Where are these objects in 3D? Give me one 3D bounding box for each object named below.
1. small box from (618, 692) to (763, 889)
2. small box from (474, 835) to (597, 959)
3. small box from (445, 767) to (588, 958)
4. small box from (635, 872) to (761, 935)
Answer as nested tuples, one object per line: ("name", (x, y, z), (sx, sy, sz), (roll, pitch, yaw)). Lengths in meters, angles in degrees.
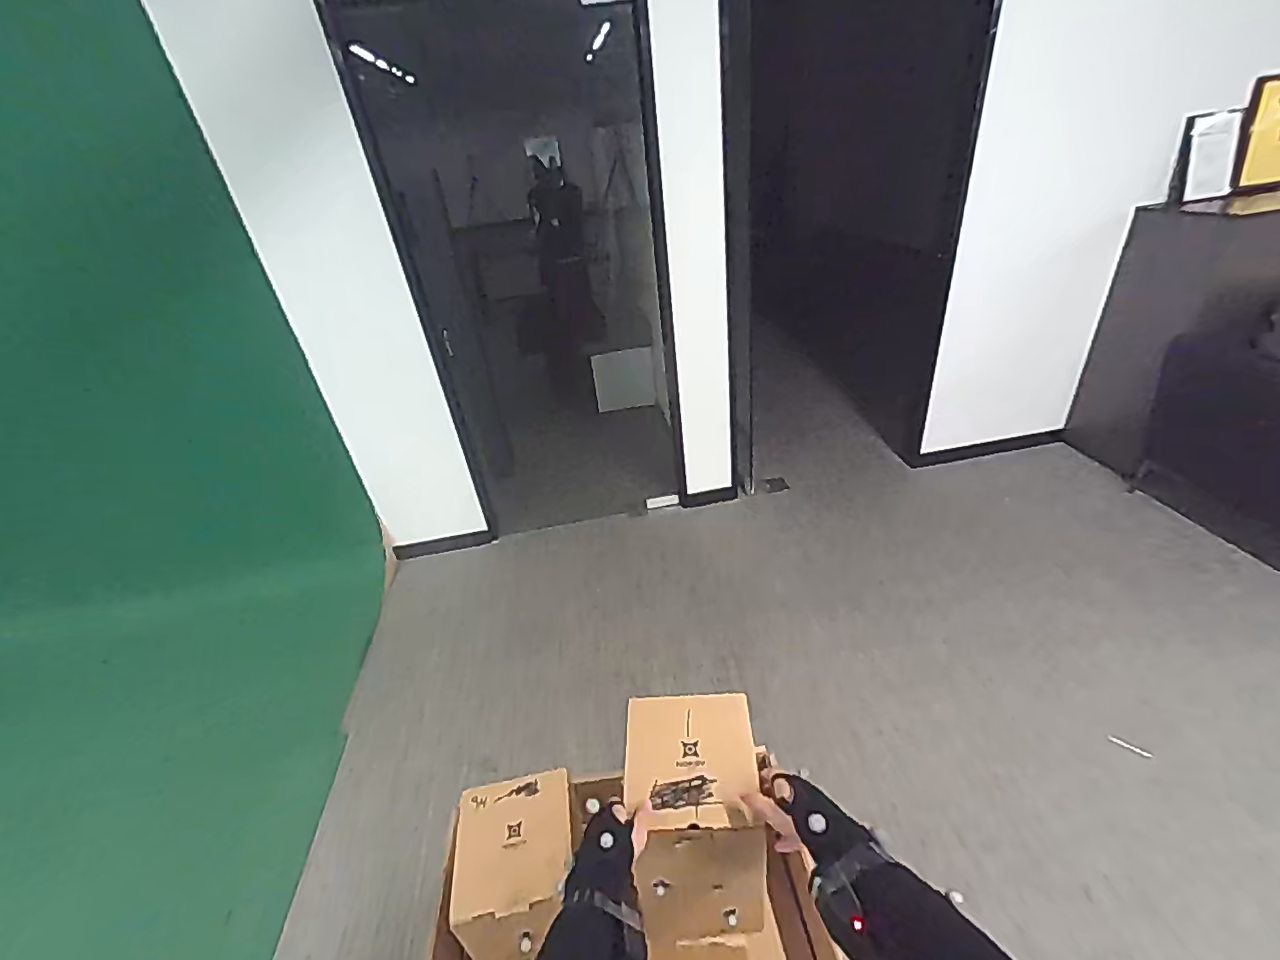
("small box", (0.069, 0.408, 0.714), (0.168, 0.176, 0.179), (-4, 32, 5))
("small box", (-0.169, 0.702, 0.904), (0.168, 0.176, 0.179), (-10, 32, -5))
("small box", (-0.174, 0.571, 0.806), (0.168, 0.176, 0.179), (-9, 33, -5))
("small box", (0.085, 0.544, 0.804), (0.168, 0.176, 0.179), (-6, 32, 3))
